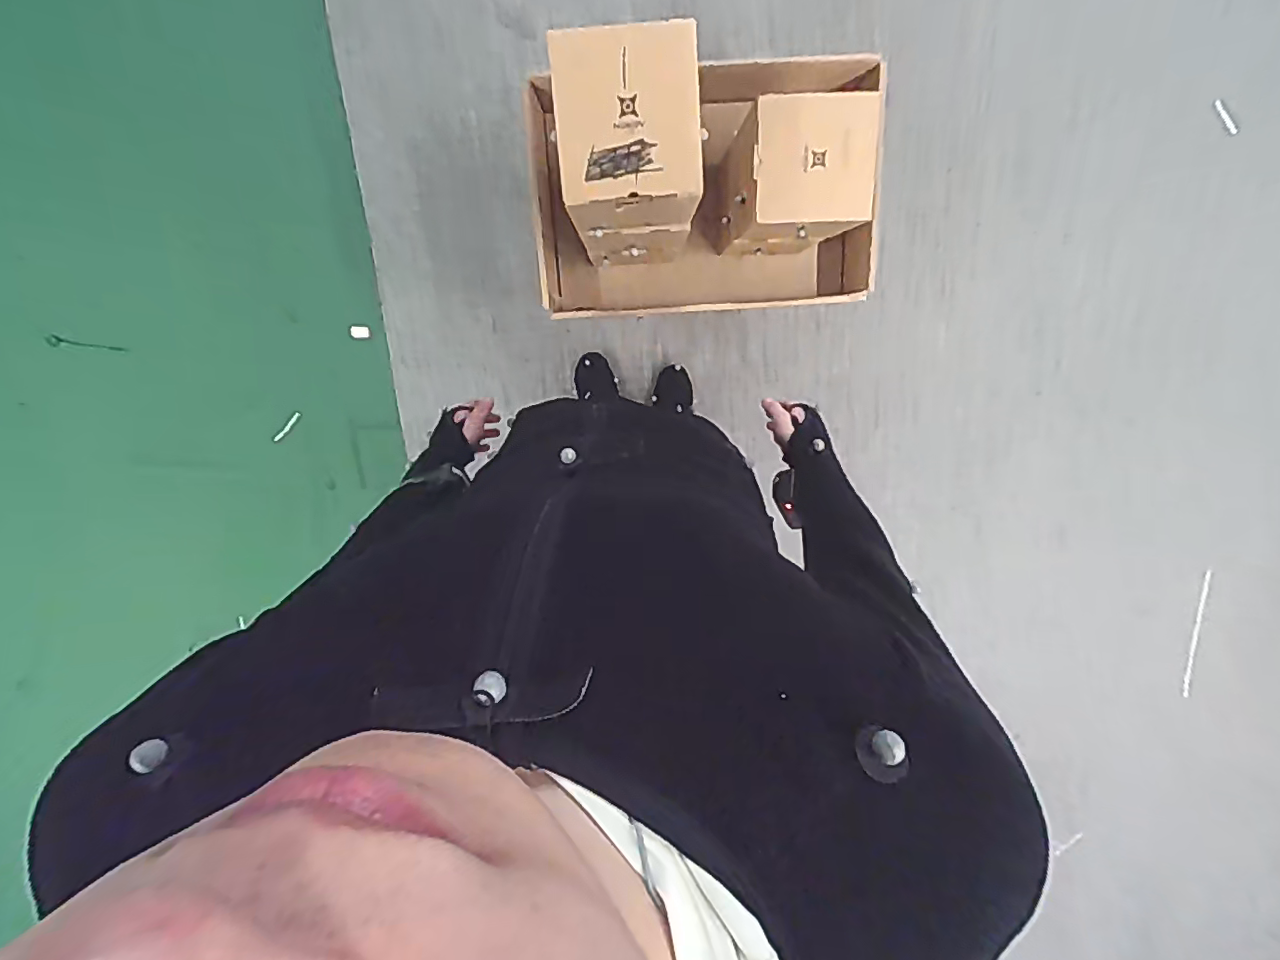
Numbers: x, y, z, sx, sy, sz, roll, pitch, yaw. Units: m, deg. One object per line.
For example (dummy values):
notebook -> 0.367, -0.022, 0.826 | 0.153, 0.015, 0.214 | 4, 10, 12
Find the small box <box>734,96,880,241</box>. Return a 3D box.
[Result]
small box -> 0.247, -0.474, 0.846 | 0.179, 0.176, 0.168 | -2, 106, -2

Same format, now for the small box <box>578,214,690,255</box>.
small box -> -0.015, -0.459, 0.841 | 0.168, 0.176, 0.179 | -3, 105, -1

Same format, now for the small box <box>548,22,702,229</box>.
small box -> -0.014, -0.424, 0.680 | 0.168, 0.176, 0.179 | -5, 104, -1
